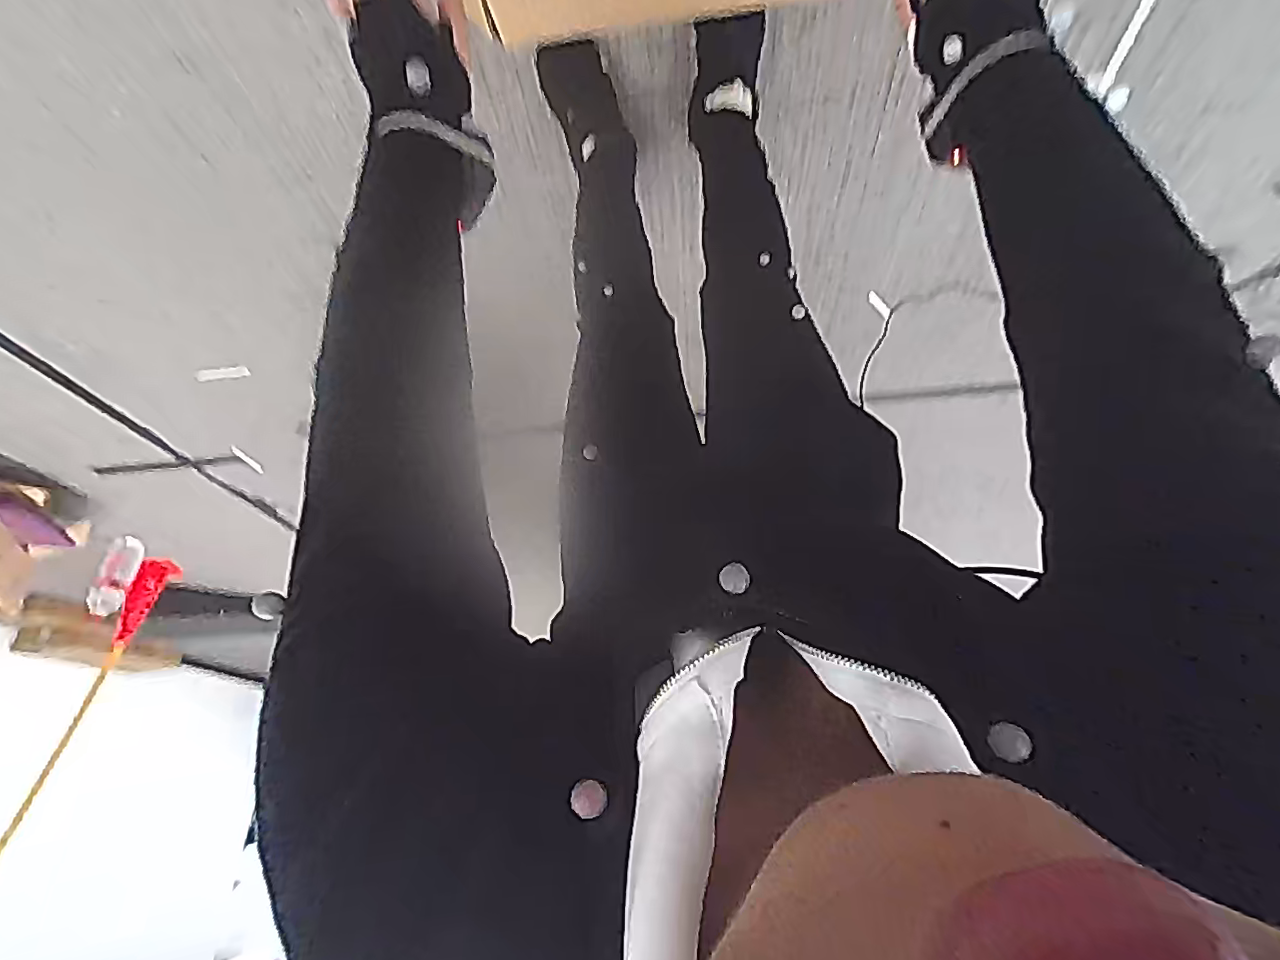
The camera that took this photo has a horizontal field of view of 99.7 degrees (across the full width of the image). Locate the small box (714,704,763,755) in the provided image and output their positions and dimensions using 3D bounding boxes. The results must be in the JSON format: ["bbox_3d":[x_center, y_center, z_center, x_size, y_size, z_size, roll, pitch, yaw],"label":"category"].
[{"bbox_3d":[0.391,1.006,2.183,0.168,0.176,0.179,-5,149,3],"label":"small box"}]

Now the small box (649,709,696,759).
[{"bbox_3d":[0.133,1.036,2.207,0.179,0.176,0.168,-4,149,2],"label":"small box"}]
